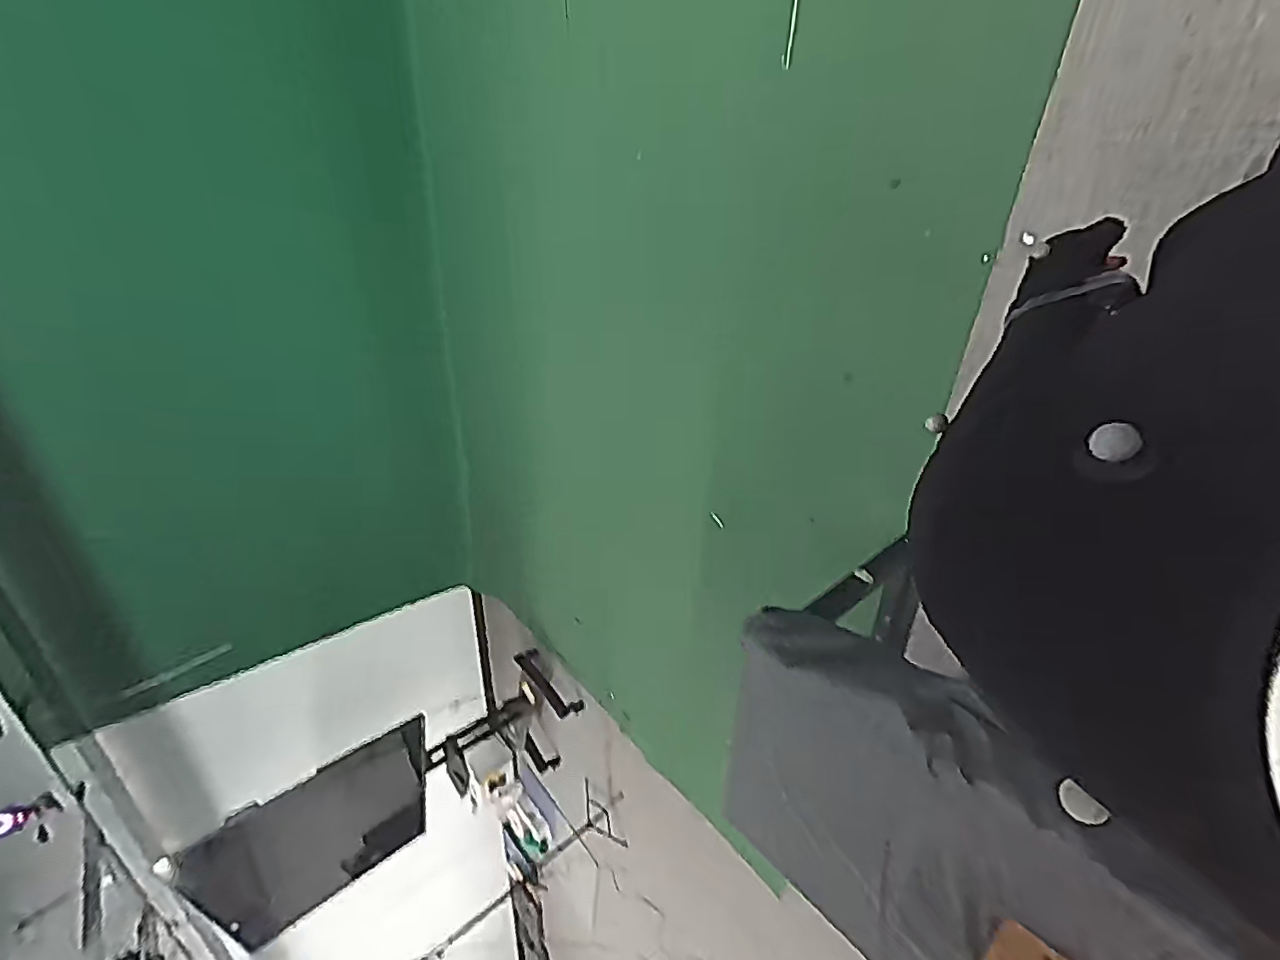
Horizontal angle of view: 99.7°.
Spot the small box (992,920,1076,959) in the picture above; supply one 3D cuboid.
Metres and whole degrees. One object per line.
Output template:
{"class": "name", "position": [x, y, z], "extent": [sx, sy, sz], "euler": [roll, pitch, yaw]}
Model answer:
{"class": "small box", "position": [0.587, 0.810, 0.781], "extent": [0.168, 0.176, 0.179], "euler": [24, 122, 42]}
